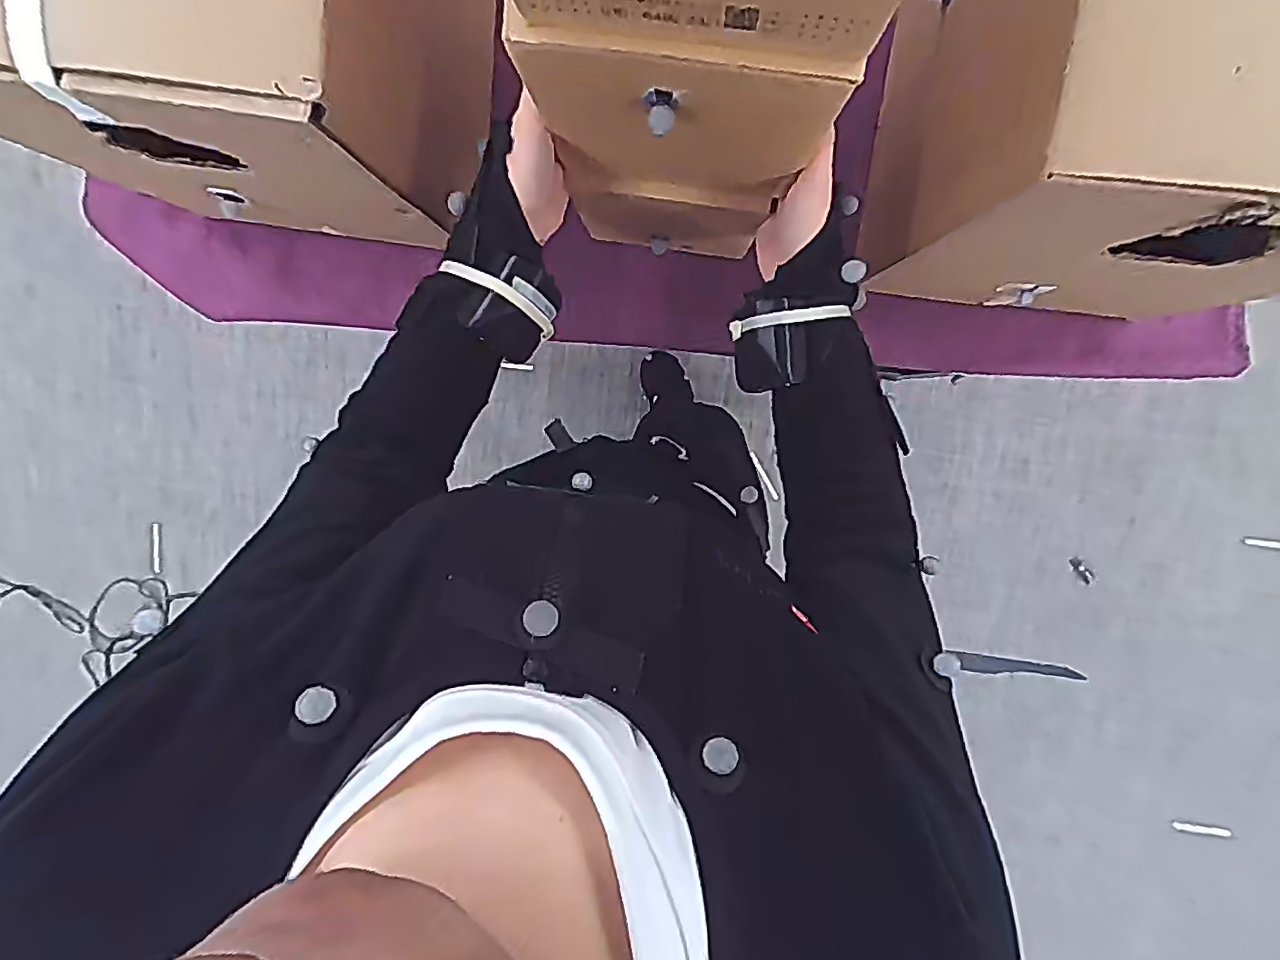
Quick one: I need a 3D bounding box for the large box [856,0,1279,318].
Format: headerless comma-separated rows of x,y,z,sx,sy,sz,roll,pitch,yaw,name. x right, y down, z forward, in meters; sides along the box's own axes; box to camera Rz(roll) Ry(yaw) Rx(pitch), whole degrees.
0.391,-0.360,0.412,0.320,0.320,0.408,6,98,1,large box

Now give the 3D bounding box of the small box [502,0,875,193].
0.034,-0.290,0.323,0.179,0.176,0.168,9,101,3,small box
